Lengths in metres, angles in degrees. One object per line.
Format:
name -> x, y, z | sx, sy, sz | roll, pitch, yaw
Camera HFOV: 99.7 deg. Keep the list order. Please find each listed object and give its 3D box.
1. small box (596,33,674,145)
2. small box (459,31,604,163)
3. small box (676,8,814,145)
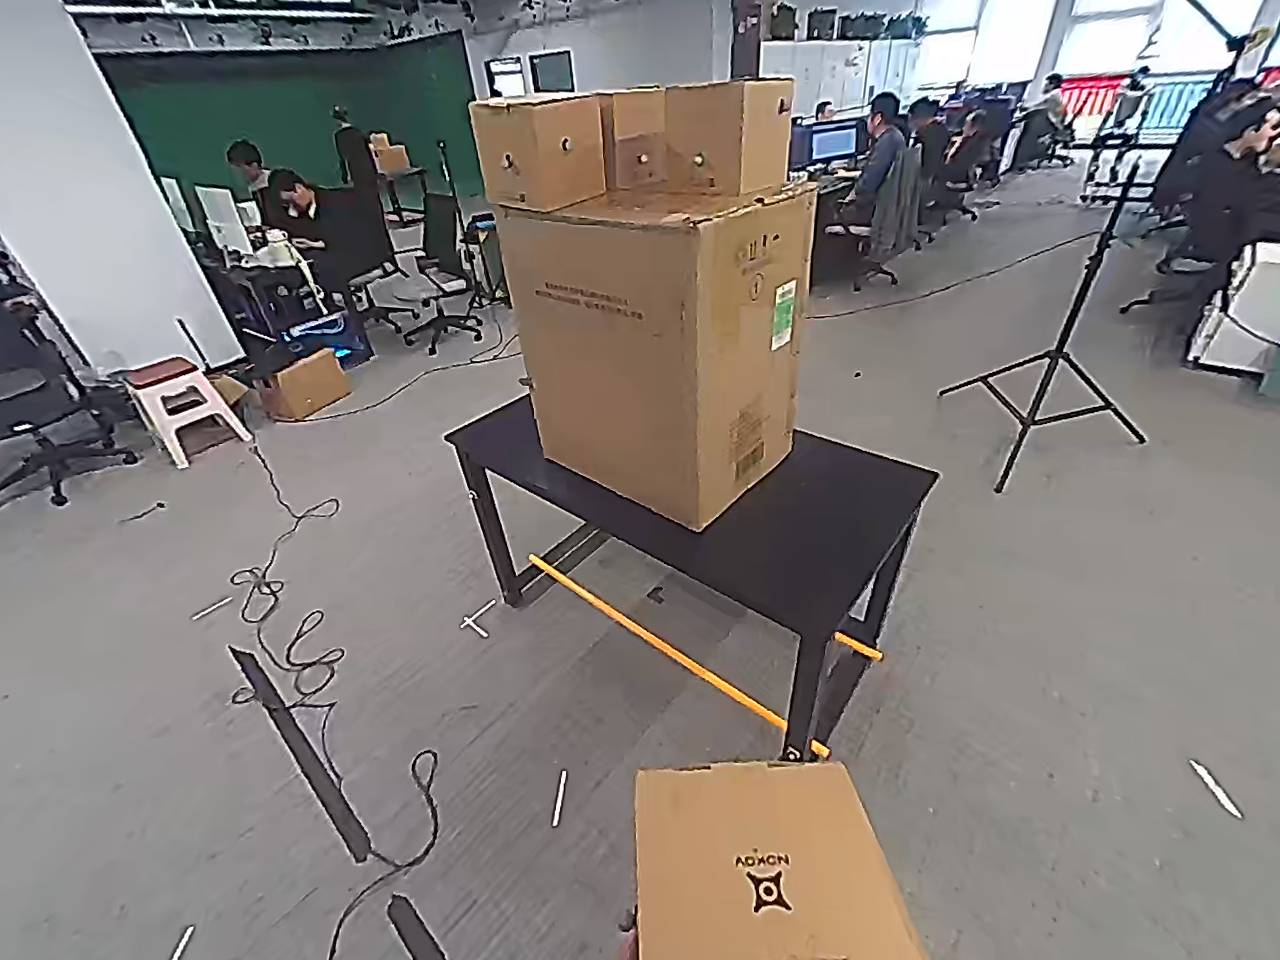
small box -> -0.051, -0.770, 1.074 | 0.179, 0.176, 0.168 | 27, 46, 33
small box -> -0.178, -0.669, 0.948 | 0.168, 0.176, 0.179 | 23, 48, 28
small box -> 0.174, -0.677, 0.922 | 0.168, 0.176, 0.179 | 22, 42, 34
